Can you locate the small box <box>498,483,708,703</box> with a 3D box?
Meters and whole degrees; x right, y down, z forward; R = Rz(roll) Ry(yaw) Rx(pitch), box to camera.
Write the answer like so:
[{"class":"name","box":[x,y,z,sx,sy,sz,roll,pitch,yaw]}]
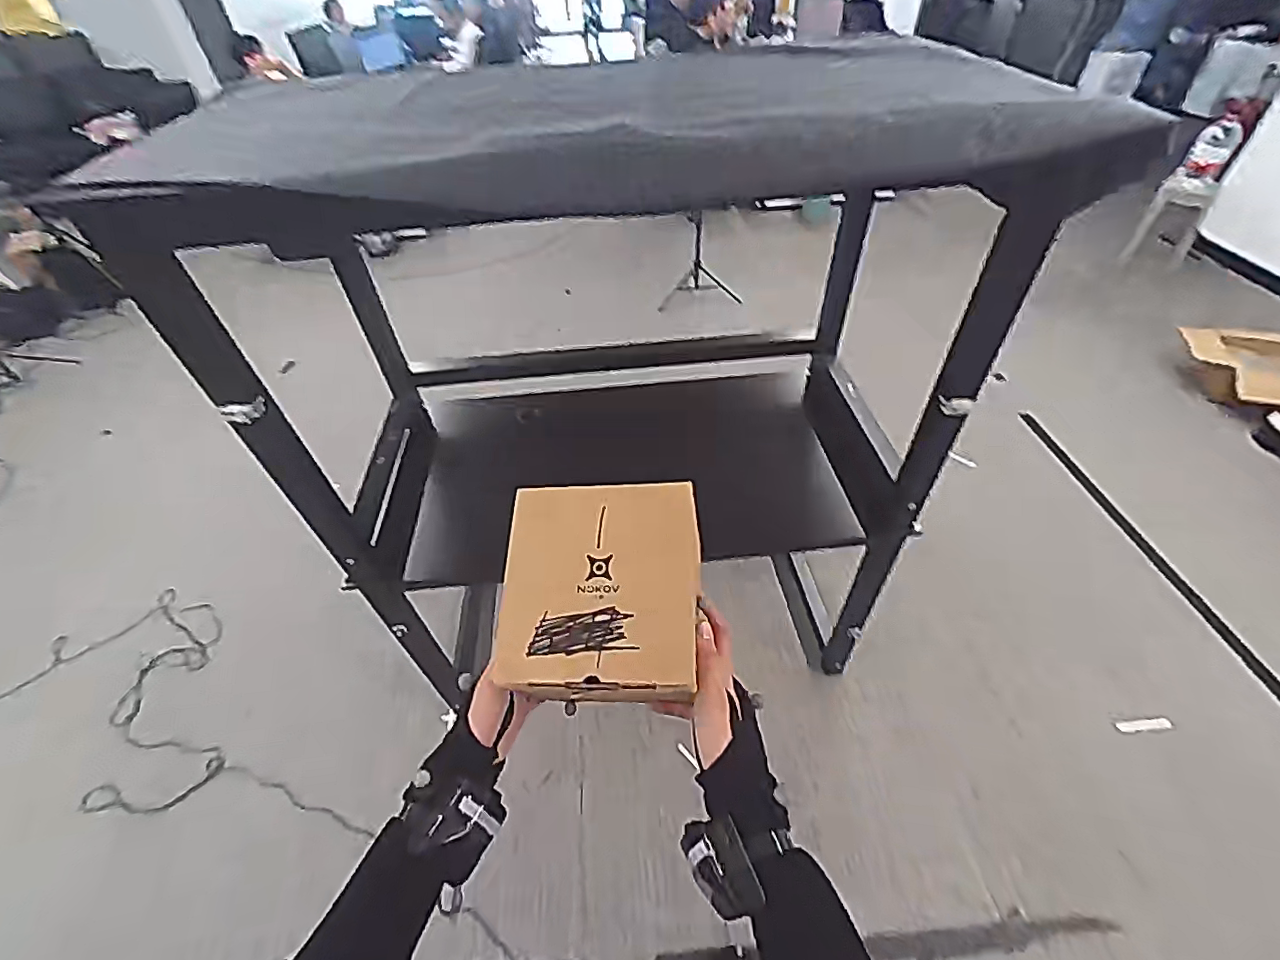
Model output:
[{"class":"small box","box":[-0.020,0.118,0.525,0.168,0.176,0.179,-2,63,7]}]
